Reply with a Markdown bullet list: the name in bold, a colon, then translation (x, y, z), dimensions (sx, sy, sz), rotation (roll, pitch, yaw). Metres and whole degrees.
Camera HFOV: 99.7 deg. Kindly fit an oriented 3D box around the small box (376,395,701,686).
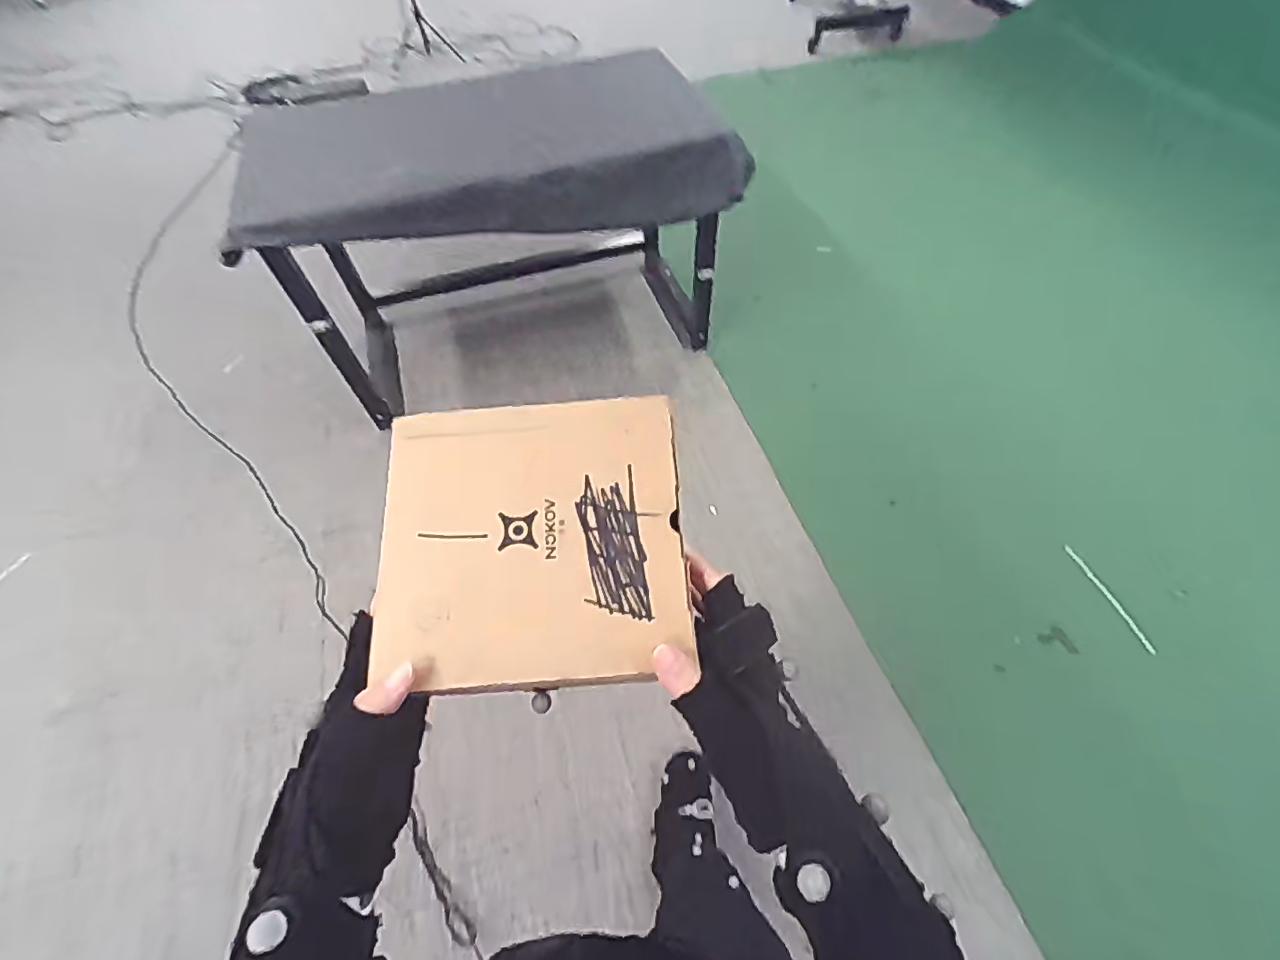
- **small box**: translation (-0.058, 0.055, 0.390), dimensions (0.179, 0.176, 0.168), rotation (-4, 69, -1)
